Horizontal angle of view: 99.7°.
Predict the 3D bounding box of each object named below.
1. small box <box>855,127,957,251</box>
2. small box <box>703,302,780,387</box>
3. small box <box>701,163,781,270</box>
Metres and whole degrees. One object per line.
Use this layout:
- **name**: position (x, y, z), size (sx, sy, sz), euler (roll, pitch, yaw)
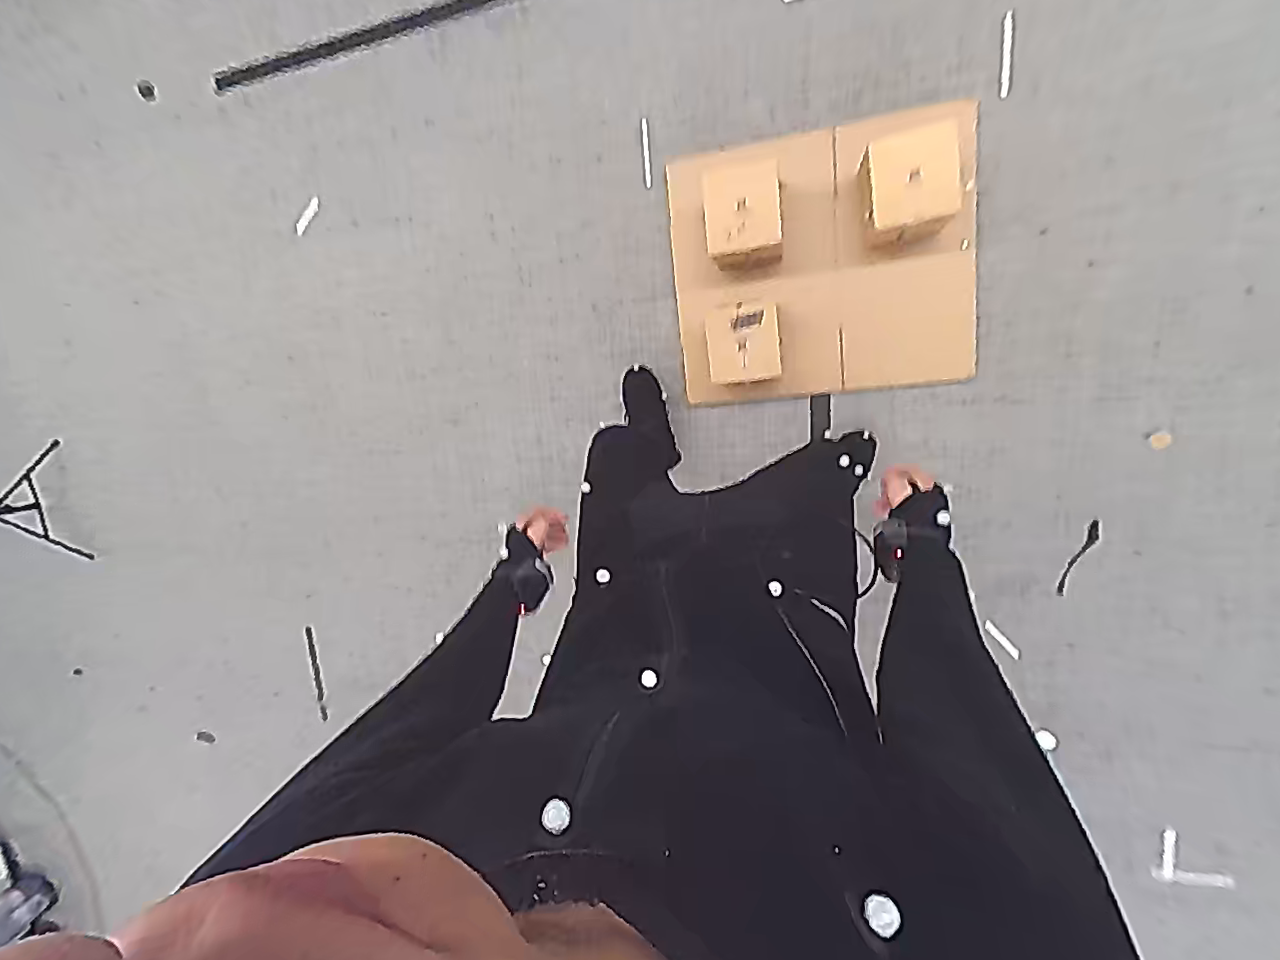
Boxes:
- **small box**: position (0.573, -0.623, 1.180), size (0.168, 0.176, 0.179), euler (-7, 100, 17)
- **small box**: position (0.253, -0.328, 1.326), size (0.168, 0.176, 0.179), euler (-4, 102, 17)
- **small box**: position (0.241, -0.607, 1.268), size (0.168, 0.176, 0.179), euler (-3, 101, 17)
